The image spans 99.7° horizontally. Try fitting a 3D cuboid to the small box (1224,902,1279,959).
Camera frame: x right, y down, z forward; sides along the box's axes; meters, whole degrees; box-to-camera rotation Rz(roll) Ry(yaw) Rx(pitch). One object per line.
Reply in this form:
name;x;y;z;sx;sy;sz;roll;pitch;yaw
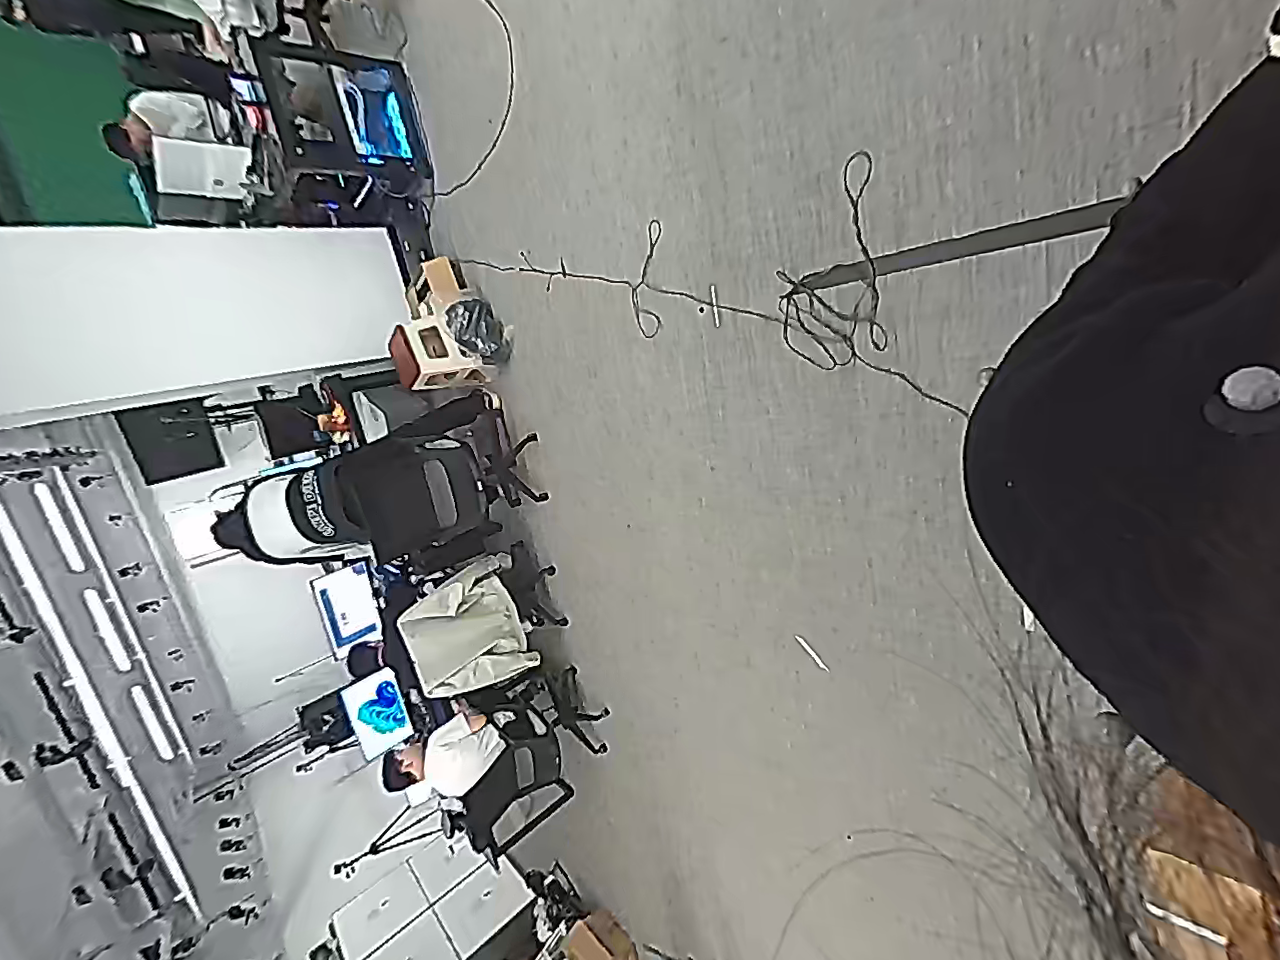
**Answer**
small box;1.144;0.908;0.941;0.168;0.176;0.179;1;107;50
